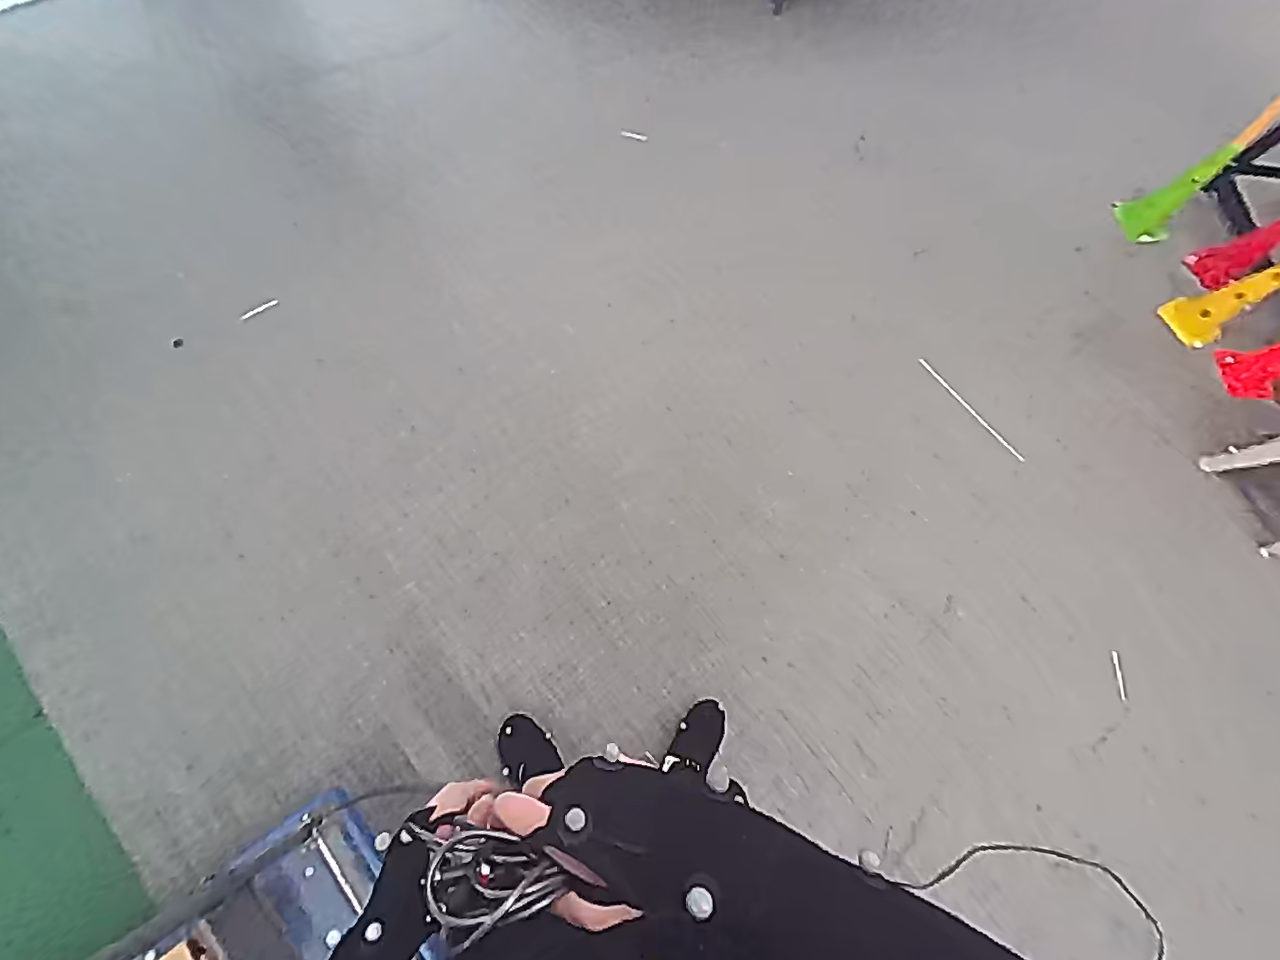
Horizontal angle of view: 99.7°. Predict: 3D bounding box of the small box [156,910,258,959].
[{"bbox_3d":[-0.787,0.893,0.914,0.179,0.176,0.168,-33,80,-19],"label":"small box"}]
